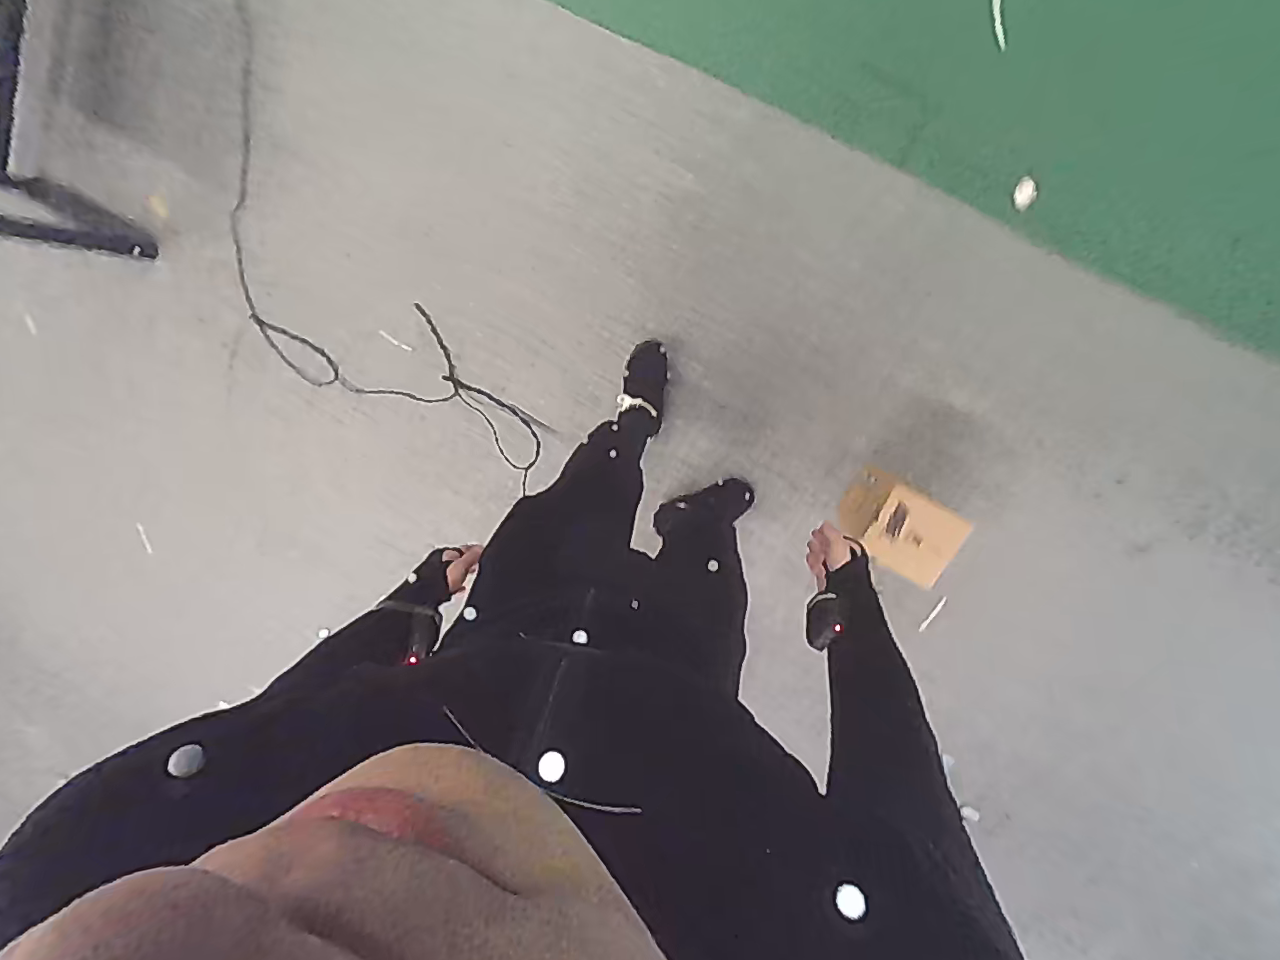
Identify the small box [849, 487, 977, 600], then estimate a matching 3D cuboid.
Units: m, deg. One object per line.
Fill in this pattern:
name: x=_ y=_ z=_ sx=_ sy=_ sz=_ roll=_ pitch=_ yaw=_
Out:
small box: x=0.584 y=0.129 z=1.190 sx=0.179 sy=0.176 sz=0.168 roll=28 pitch=105 yaw=6
